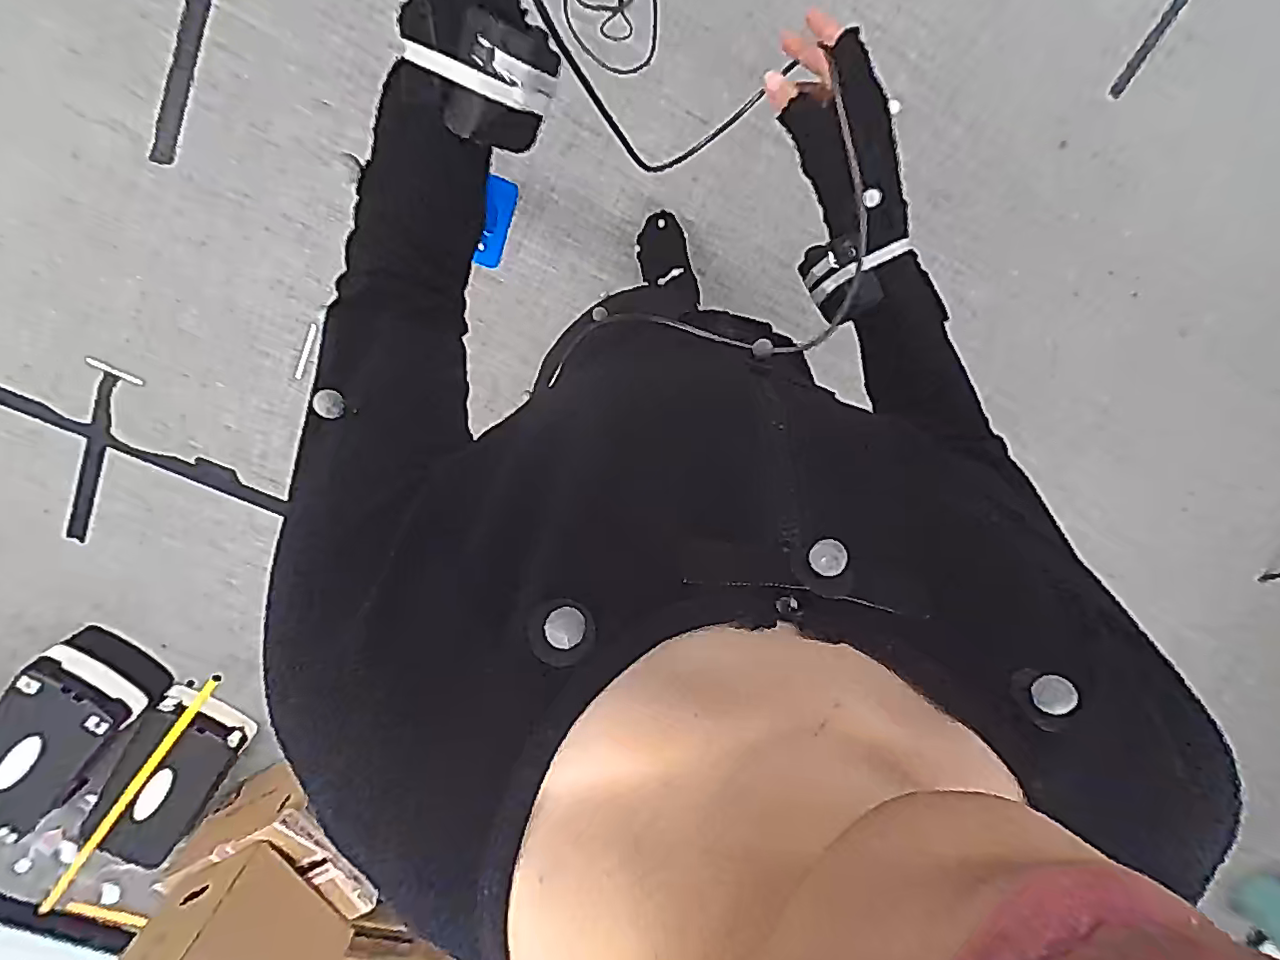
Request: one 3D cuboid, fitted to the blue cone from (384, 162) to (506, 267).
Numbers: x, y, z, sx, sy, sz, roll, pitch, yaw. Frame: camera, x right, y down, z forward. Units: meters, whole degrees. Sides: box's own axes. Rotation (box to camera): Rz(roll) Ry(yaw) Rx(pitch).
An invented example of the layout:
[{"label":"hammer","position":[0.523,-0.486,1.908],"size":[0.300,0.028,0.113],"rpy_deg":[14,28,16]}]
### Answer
[{"label":"blue cone","position":[-0.417,-0.564,1.109],"size":[0.192,0.380,0.193],"rpy_deg":[21,107,-7]}]
